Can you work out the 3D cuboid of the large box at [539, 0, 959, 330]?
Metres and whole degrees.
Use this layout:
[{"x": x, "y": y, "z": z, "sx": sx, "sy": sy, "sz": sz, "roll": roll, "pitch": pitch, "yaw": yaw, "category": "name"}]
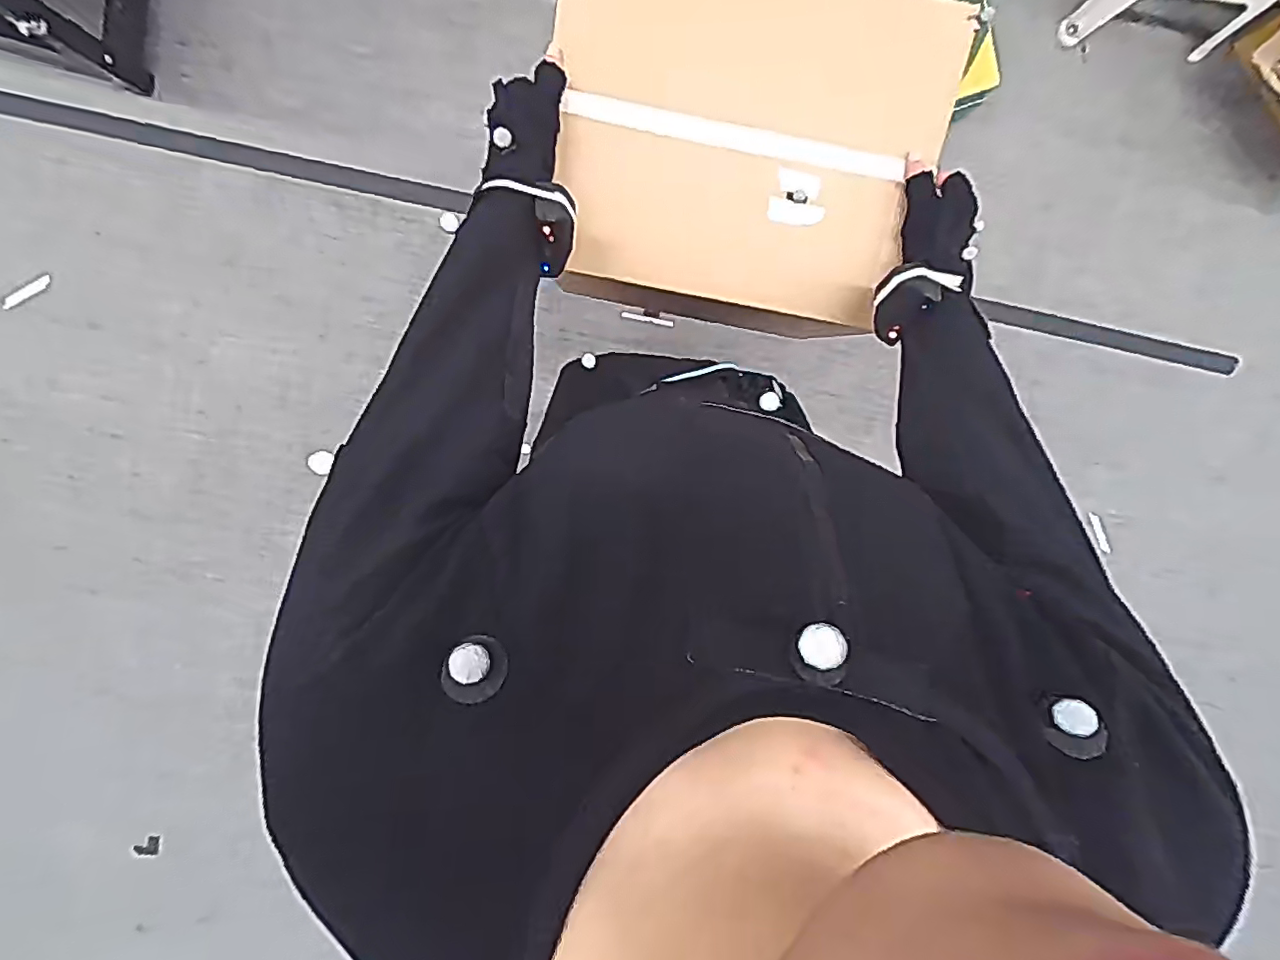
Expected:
[{"x": 0.101, "y": -0.390, "z": 0.714, "sx": 0.408, "sy": 0.320, "sz": 0.320, "roll": 9, "pitch": 104, "yaw": -4, "category": "large box"}]
